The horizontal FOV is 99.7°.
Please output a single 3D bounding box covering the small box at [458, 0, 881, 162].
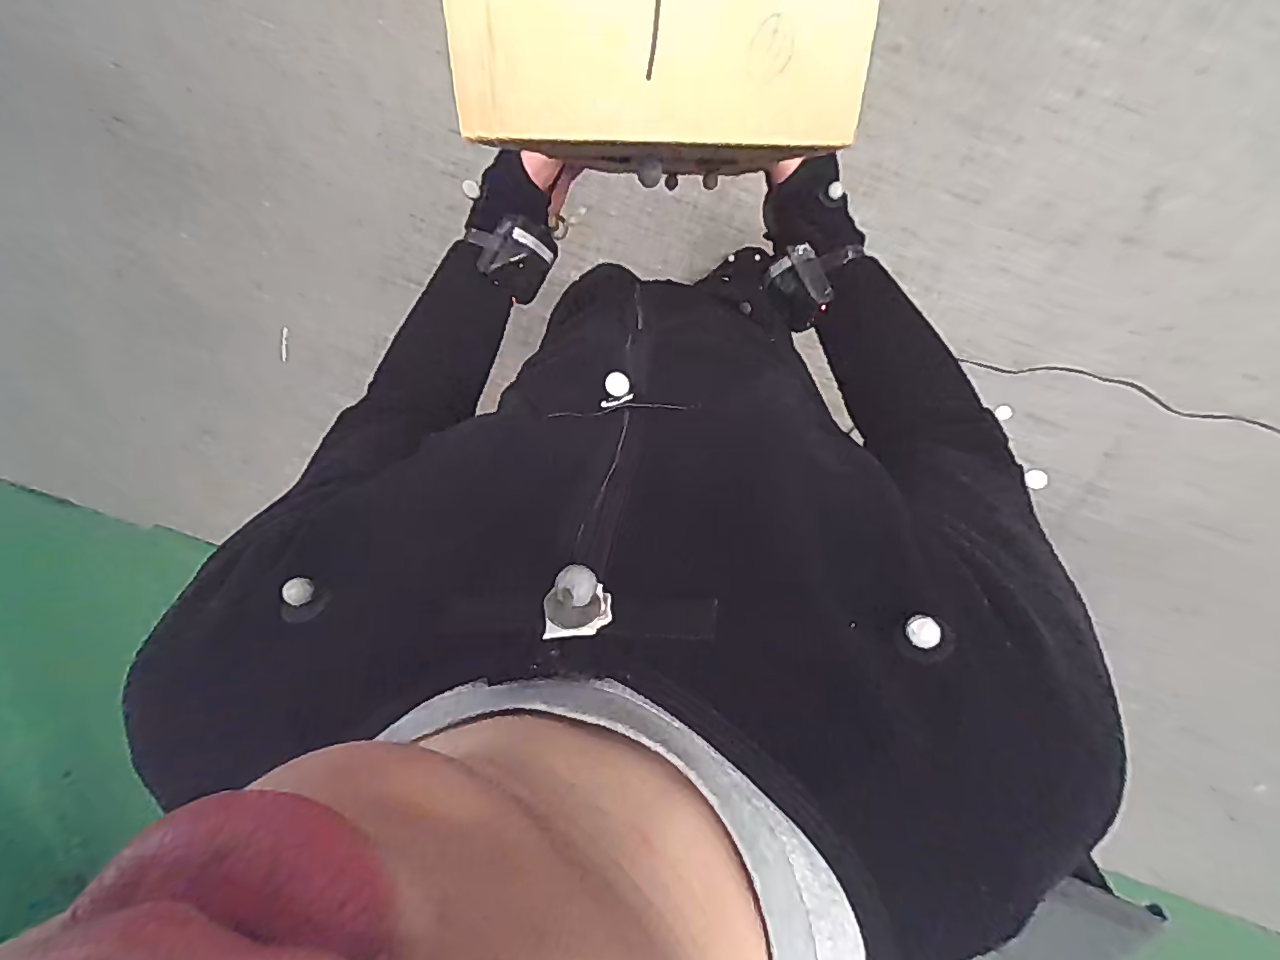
[{"bbox_3d":[0.015,-0.257,0.258,0.168,0.176,0.179,3,120,2],"label":"small box"}]
